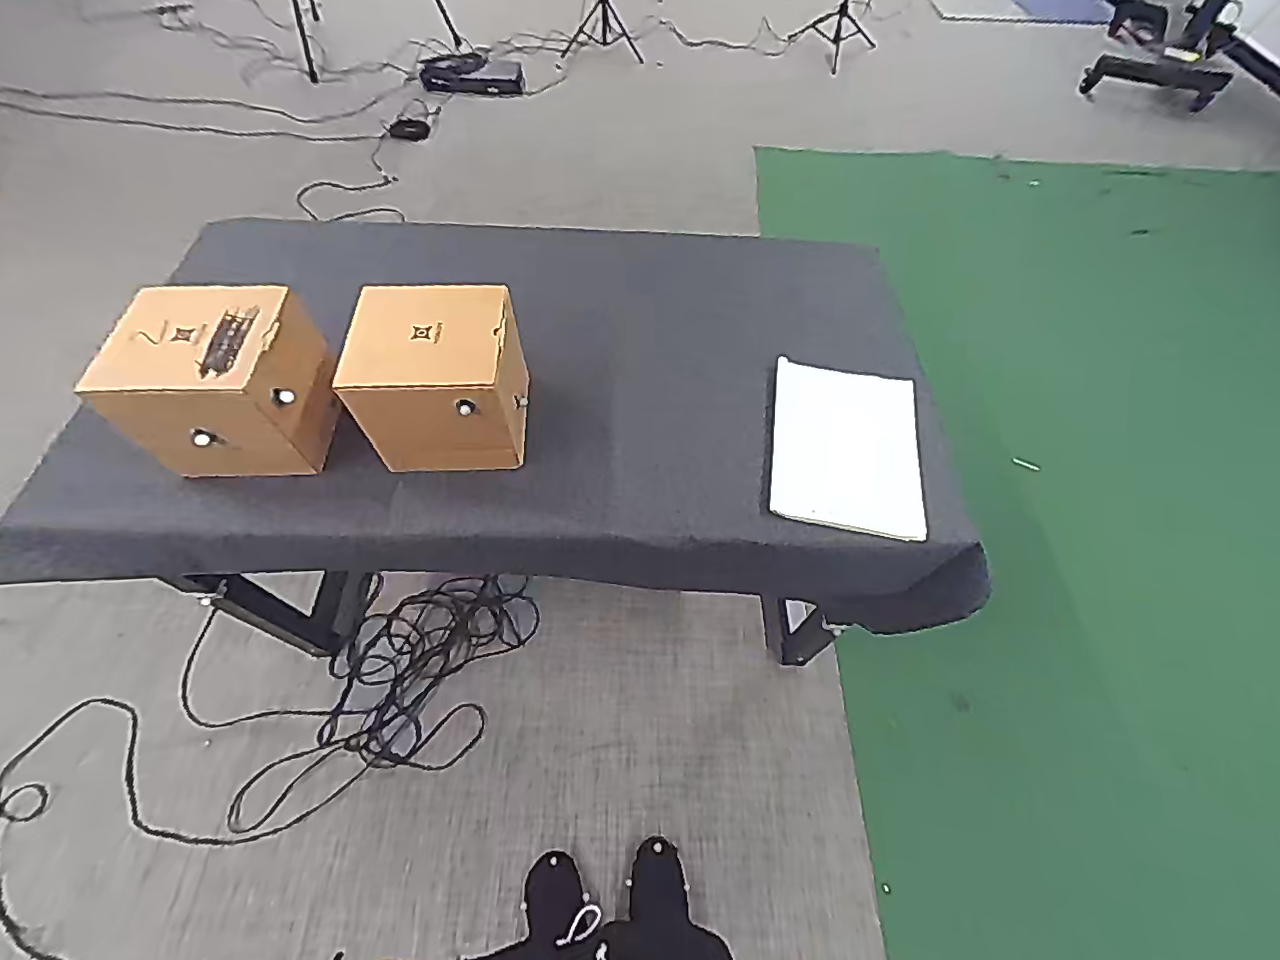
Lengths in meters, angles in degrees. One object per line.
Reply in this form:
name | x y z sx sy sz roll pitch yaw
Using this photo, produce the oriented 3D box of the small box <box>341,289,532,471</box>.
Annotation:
small box | -0.243 -0.123 0.694 0.179 0.176 0.168 -2 58 -4
